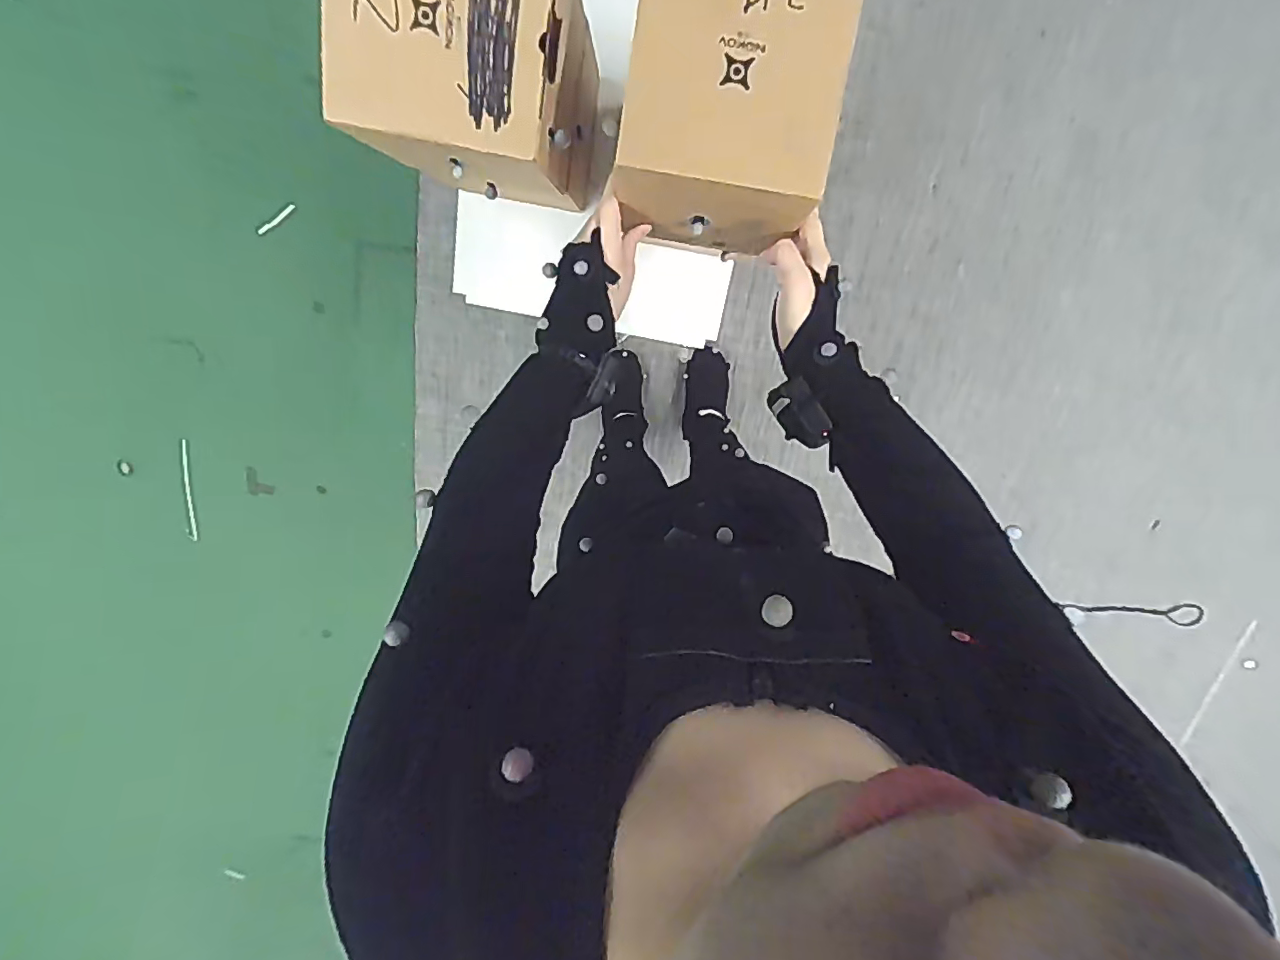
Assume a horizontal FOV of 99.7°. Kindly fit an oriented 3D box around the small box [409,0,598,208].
[{"bbox_3d":[-0.152,-0.433,0.642,0.179,0.176,0.168,9,110,-3],"label":"small box"}]

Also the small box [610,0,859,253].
[{"bbox_3d":[0.071,-0.322,0.486,0.168,0.176,0.179,9,98,-2],"label":"small box"}]
